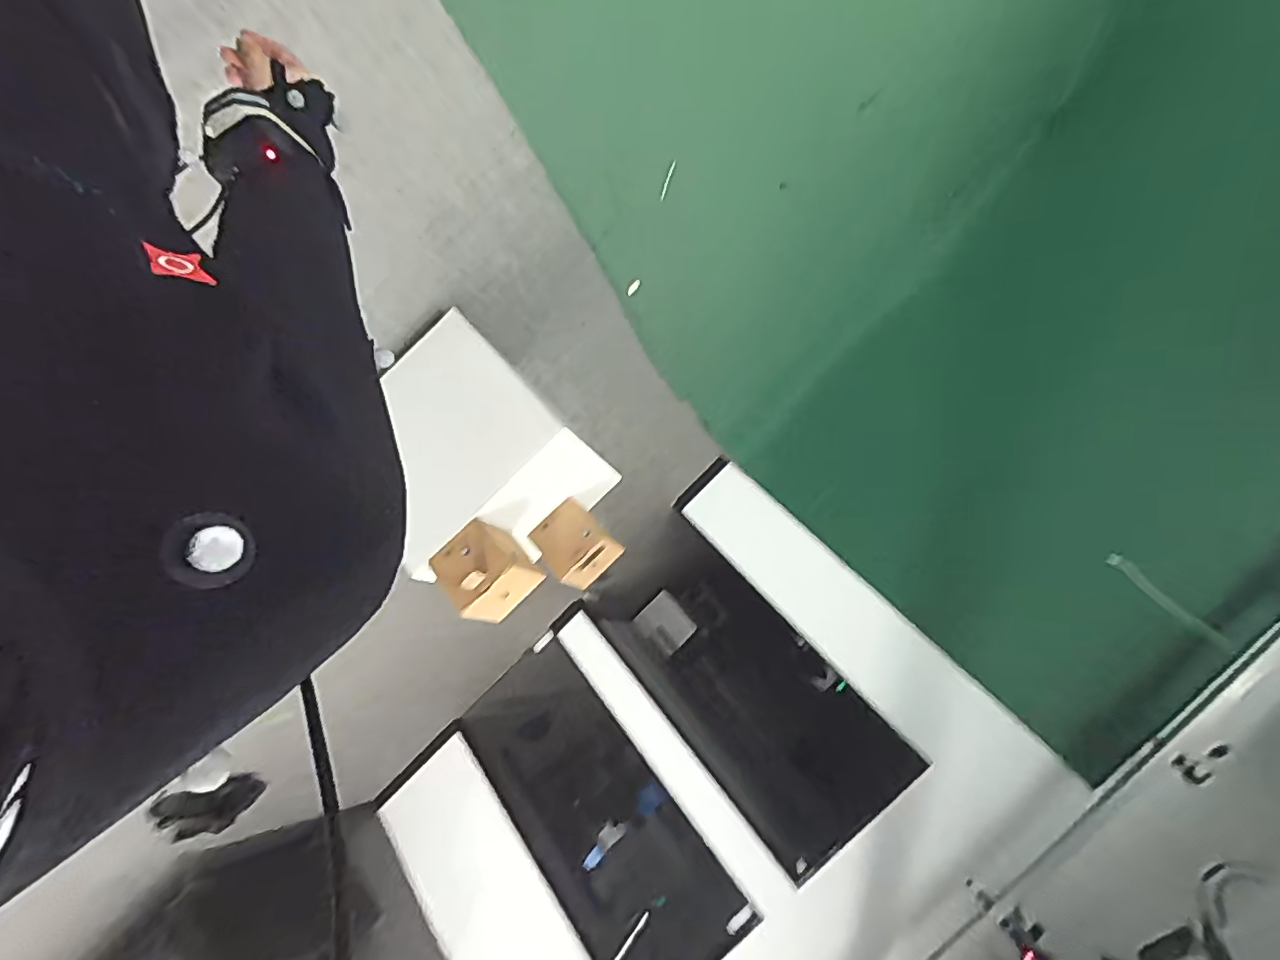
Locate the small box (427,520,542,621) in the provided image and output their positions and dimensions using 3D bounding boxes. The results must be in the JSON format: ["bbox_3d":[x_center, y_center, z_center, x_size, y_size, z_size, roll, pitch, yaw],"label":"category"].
[{"bbox_3d":[-0.376,0.220,1.316,0.168,0.176,0.179,-43,155,0],"label":"small box"}]
